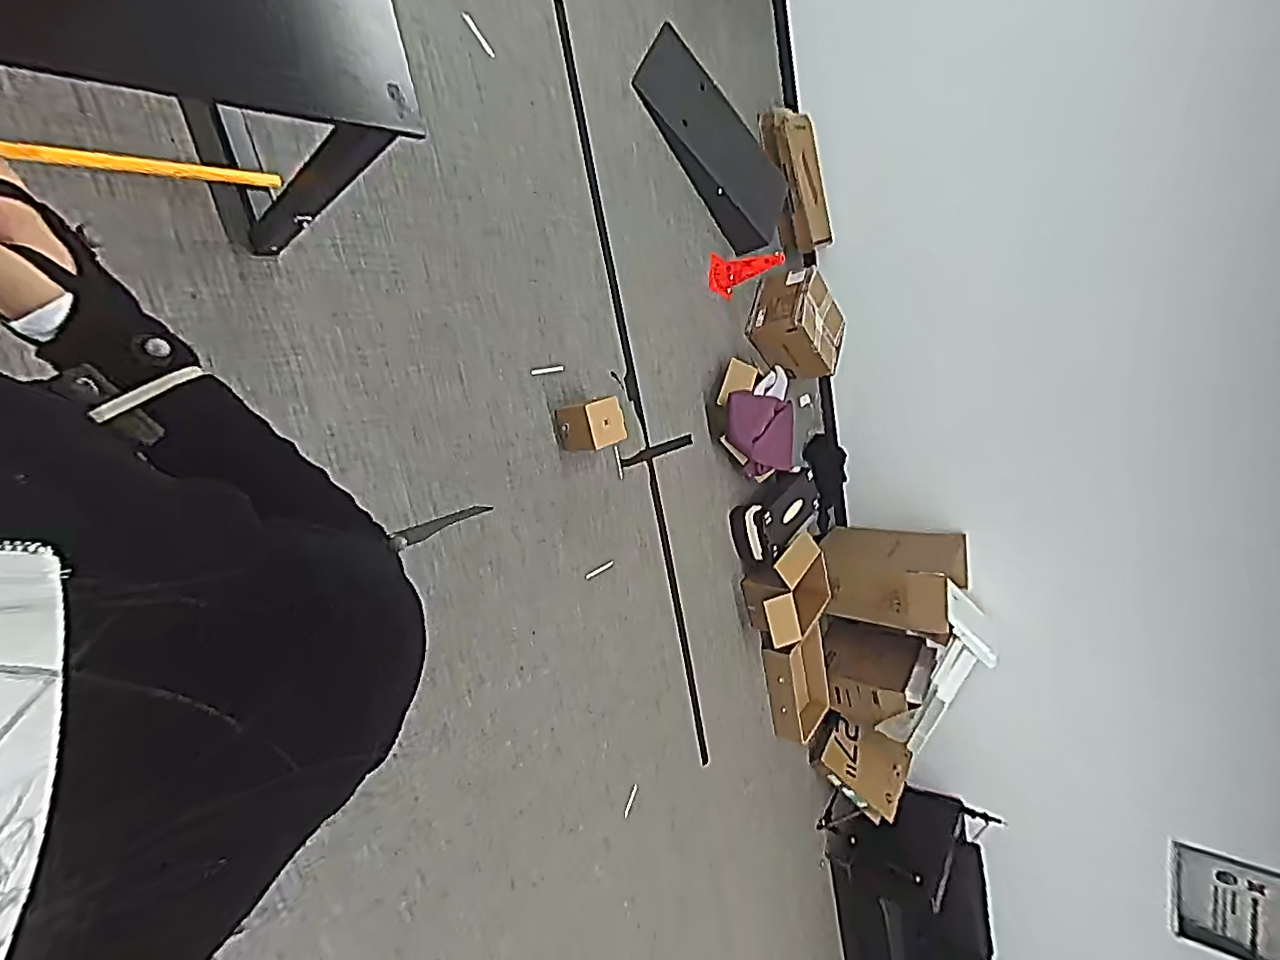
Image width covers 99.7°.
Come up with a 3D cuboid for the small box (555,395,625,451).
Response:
[{"bbox_3d":[-0.186,-0.211,2.003,0.179,0.176,0.168,-28,109,-44],"label":"small box"}]
